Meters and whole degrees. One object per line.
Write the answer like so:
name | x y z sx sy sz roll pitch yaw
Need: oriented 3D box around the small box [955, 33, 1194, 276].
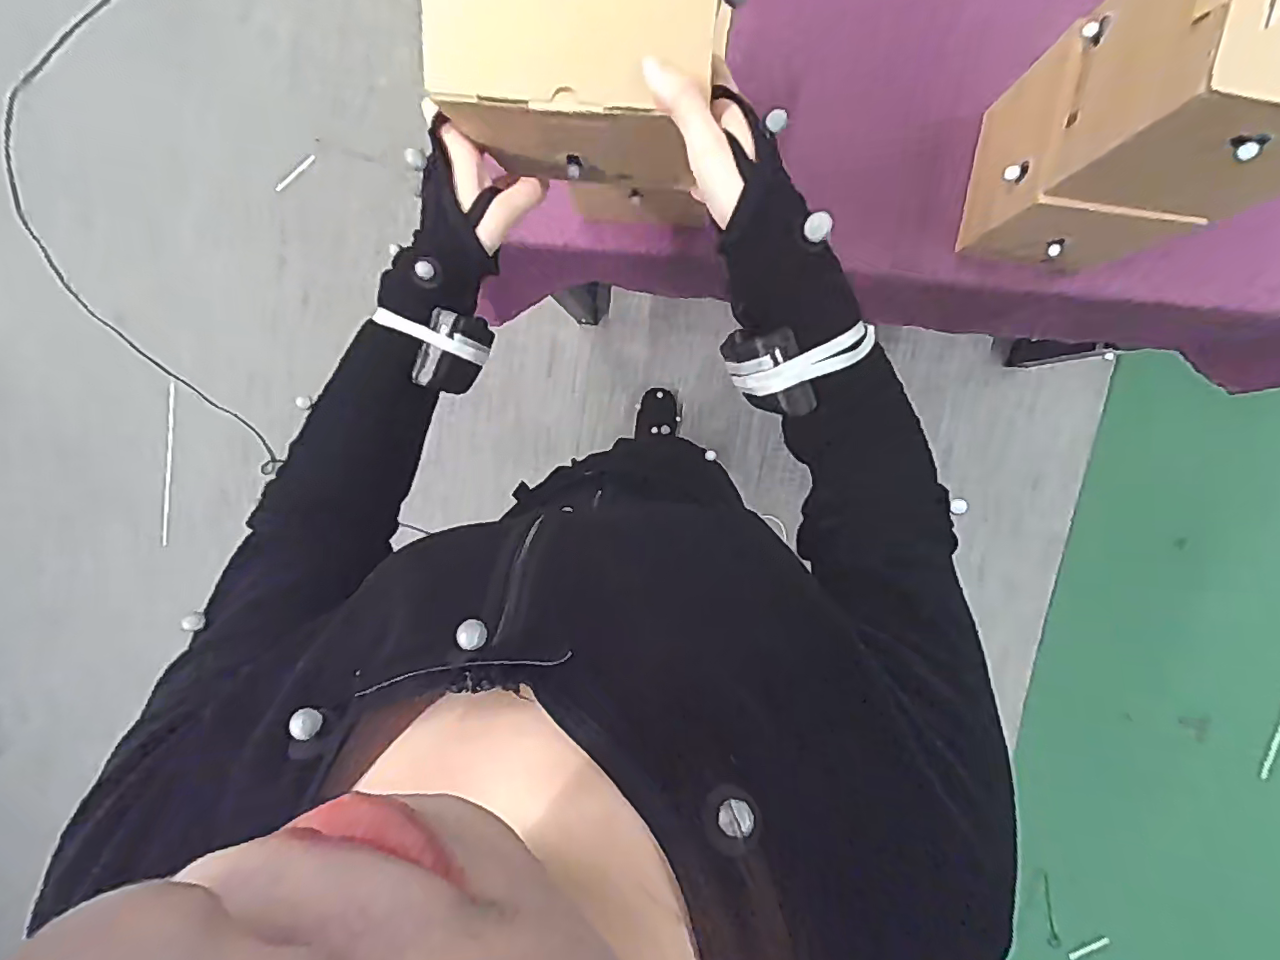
small box | 0.493 -0.349 0.616 0.168 0.176 0.179 10 96 2

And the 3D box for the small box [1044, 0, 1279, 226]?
small box | 0.492 -0.334 0.452 0.179 0.176 0.168 10 97 2
